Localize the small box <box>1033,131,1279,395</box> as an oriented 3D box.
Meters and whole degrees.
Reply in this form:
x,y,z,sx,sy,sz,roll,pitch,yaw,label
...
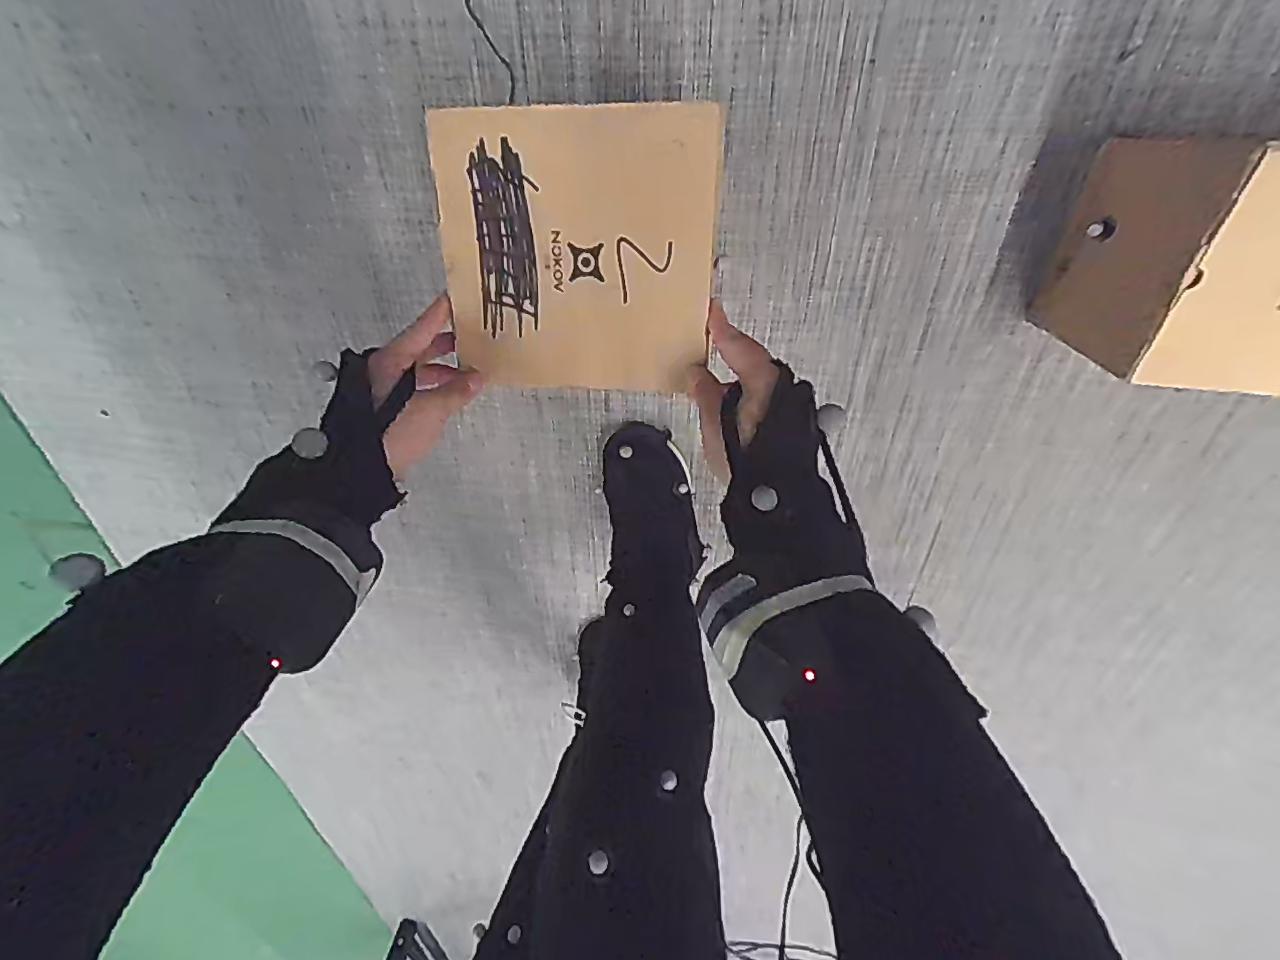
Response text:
x,y,z,sx,sy,sz,roll,pitch,yaw,label
0.481,-0.183,0.444,0.179,0.176,0.168,6,125,5,small box
